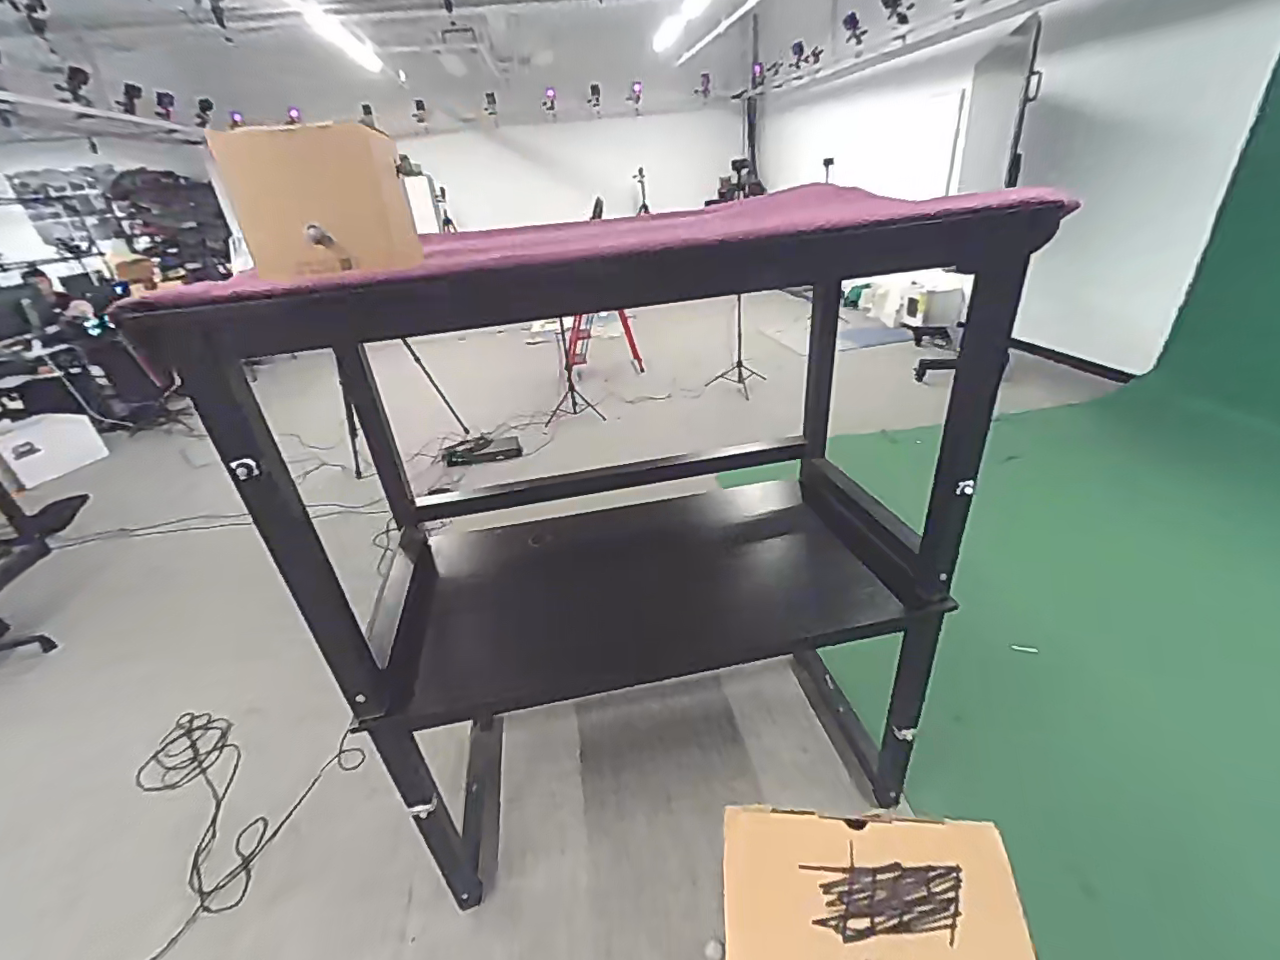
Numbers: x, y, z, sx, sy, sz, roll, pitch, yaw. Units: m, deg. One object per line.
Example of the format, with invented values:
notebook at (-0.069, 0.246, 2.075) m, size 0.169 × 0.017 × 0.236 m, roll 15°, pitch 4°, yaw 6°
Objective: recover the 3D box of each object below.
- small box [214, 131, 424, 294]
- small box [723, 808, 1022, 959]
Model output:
small box at (-0.398, -0.347, 0.712) m, size 0.168 × 0.176 × 0.179 m, roll -9°, pitch 28°, yaw -6°
small box at (0.139, 0.334, 0.359) m, size 0.168 × 0.176 × 0.179 m, roll -2°, pitch 54°, yaw 10°
